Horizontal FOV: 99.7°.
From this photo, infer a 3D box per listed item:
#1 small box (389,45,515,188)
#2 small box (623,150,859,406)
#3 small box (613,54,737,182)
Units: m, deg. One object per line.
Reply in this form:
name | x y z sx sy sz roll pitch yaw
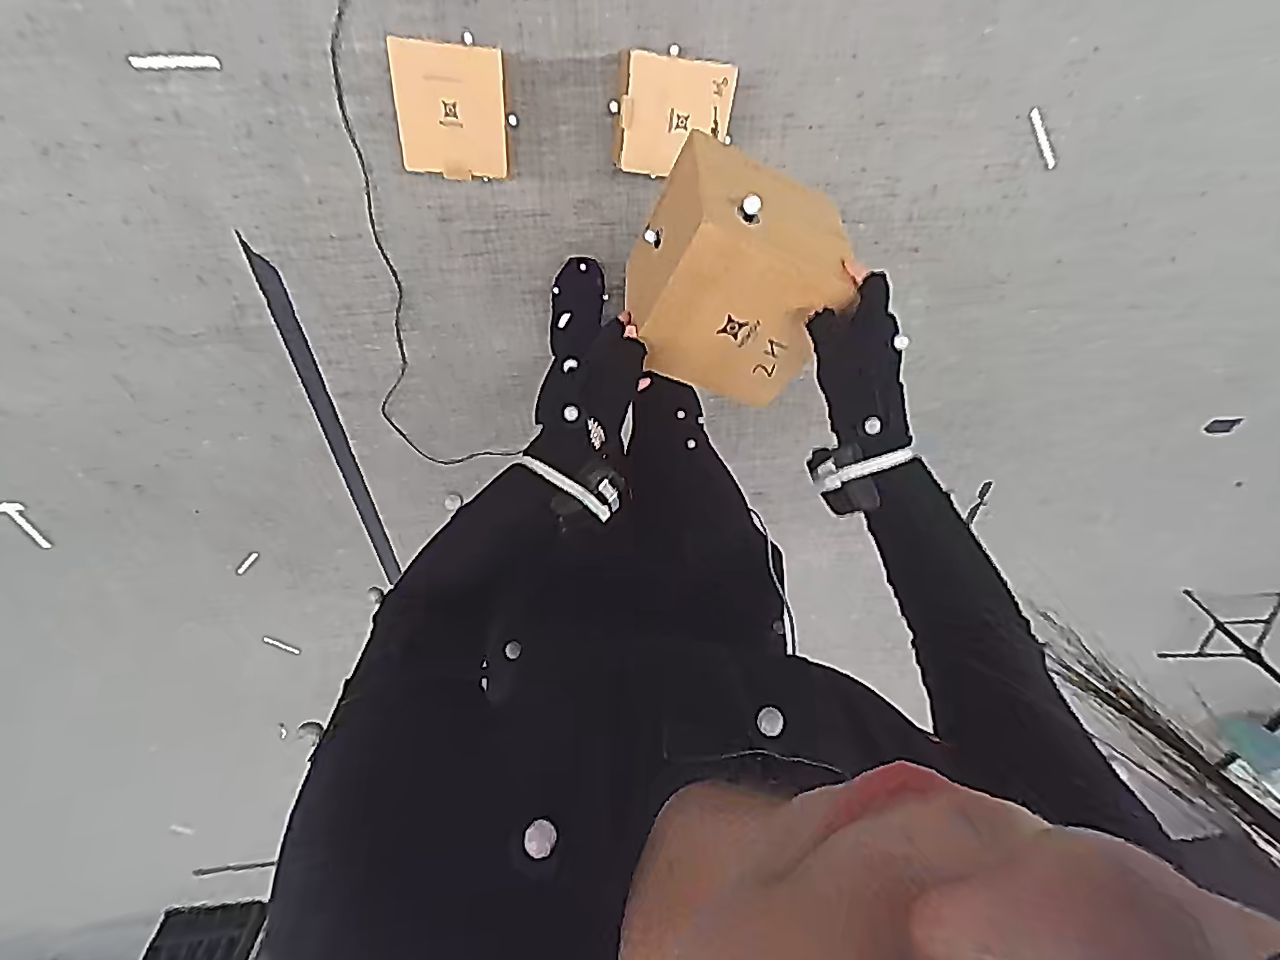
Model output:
small box | -0.303 -0.613 0.912 0.168 0.176 0.179 0 127 -9
small box | 0.093 -0.212 0.575 0.179 0.176 0.168 14 143 -19
small box | 0.049 -0.627 0.948 0.179 0.176 0.168 3 127 -10
